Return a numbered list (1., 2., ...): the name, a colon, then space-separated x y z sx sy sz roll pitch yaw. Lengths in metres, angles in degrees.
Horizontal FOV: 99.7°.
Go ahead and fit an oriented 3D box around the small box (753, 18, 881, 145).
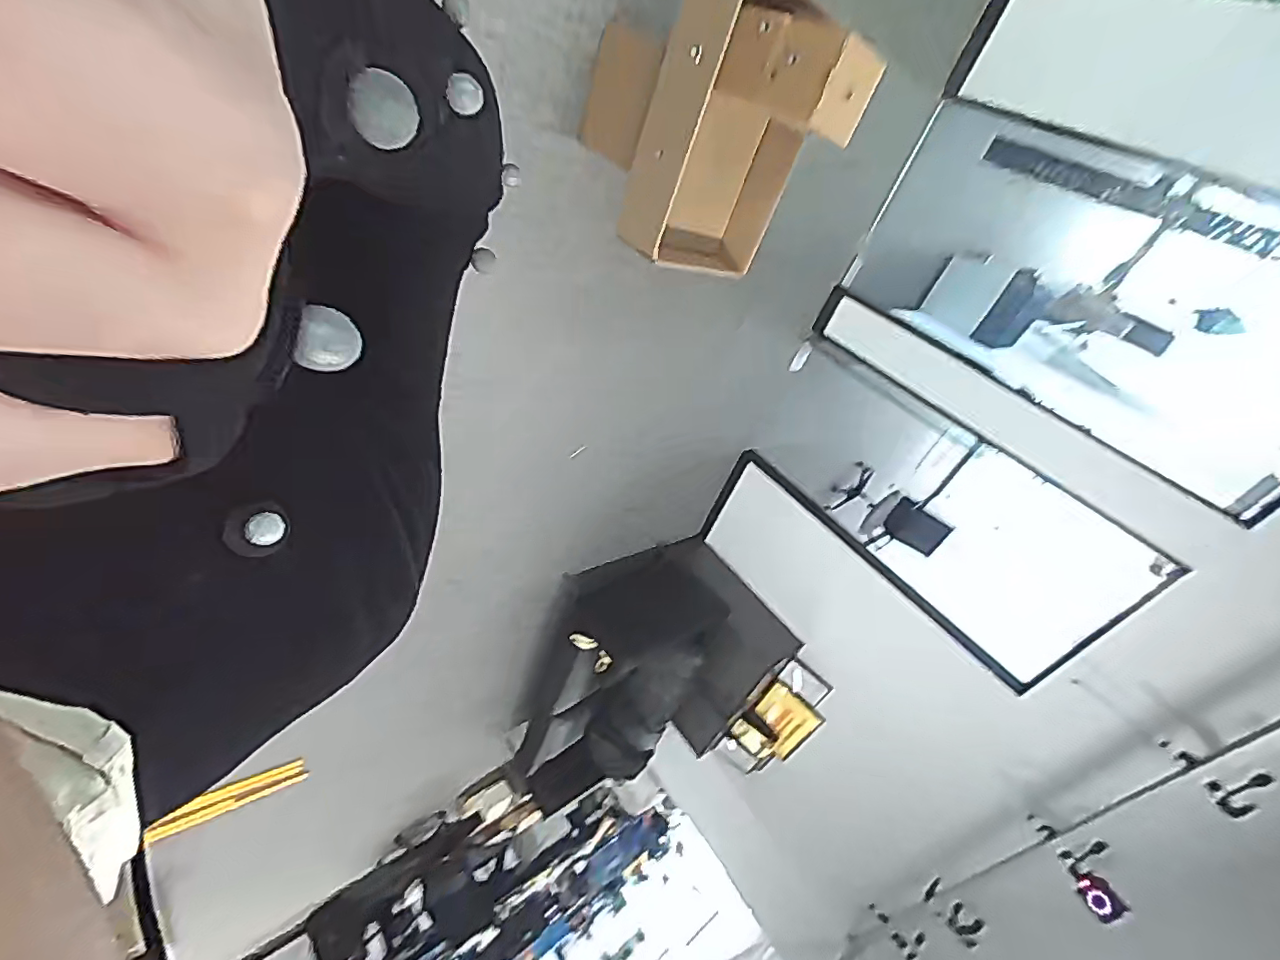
1. small box: 0.389 -0.883 1.201 0.179 0.176 0.168 -12 137 -44
